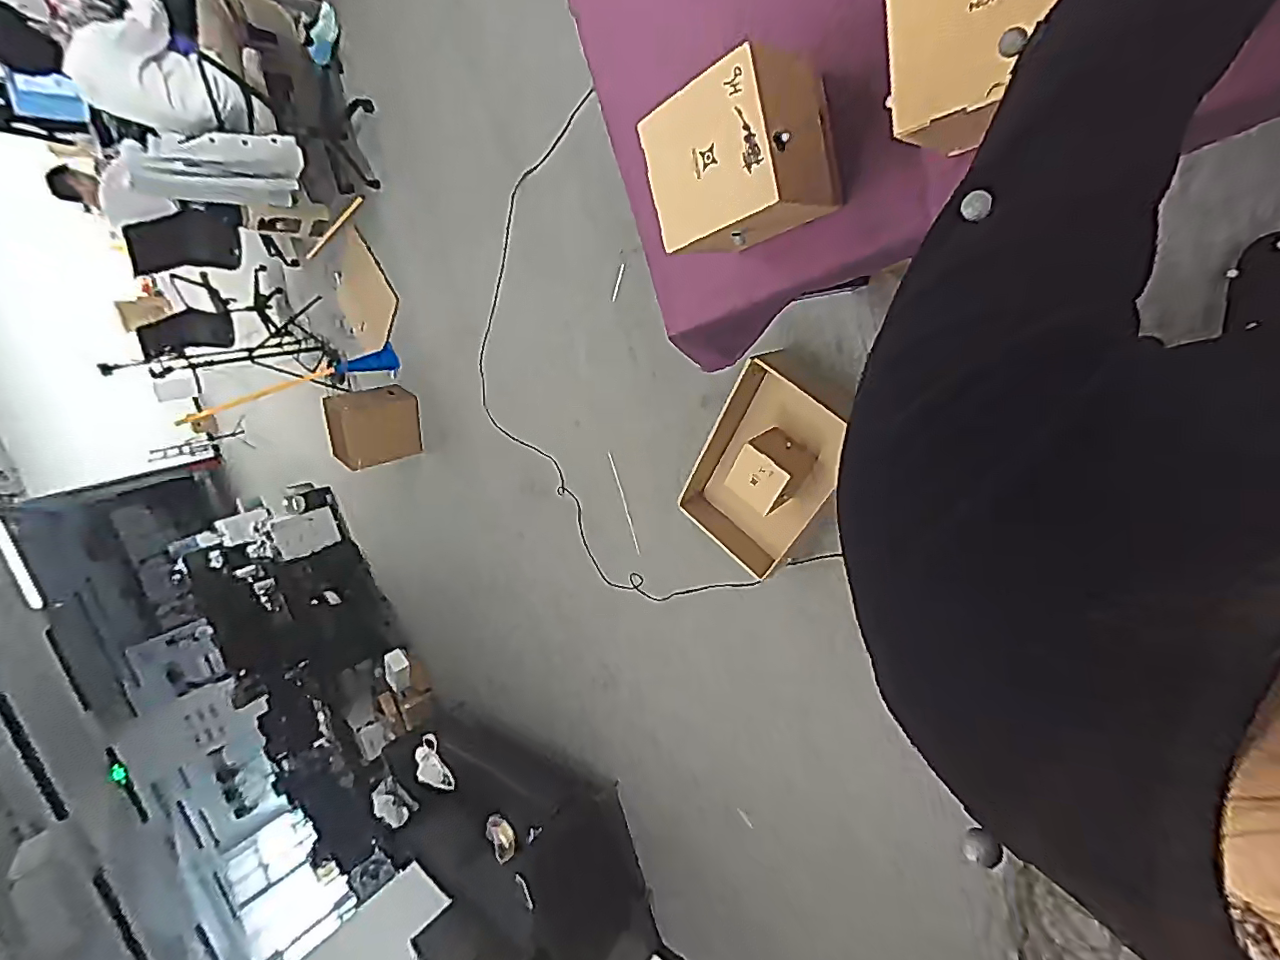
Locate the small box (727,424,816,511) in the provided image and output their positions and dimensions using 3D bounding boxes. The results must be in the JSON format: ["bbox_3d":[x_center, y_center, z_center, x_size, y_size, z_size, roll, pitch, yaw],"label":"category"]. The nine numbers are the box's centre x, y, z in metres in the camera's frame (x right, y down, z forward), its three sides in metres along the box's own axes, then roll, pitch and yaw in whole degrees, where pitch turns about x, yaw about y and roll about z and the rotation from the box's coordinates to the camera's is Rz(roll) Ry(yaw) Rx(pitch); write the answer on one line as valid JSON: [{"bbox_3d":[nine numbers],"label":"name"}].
[{"bbox_3d":[0.401,-0.043,1.639,0.168,0.176,0.179,42,135,22],"label":"small box"}]

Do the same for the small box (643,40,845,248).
[{"bbox_3d":[0.137,-0.414,0.701,0.179,0.176,0.168,-3,107,47],"label":"small box"}]

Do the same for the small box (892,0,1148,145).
[{"bbox_3d":[0.341,-0.431,0.486,0.168,0.176,0.179,3,112,45],"label":"small box"}]
